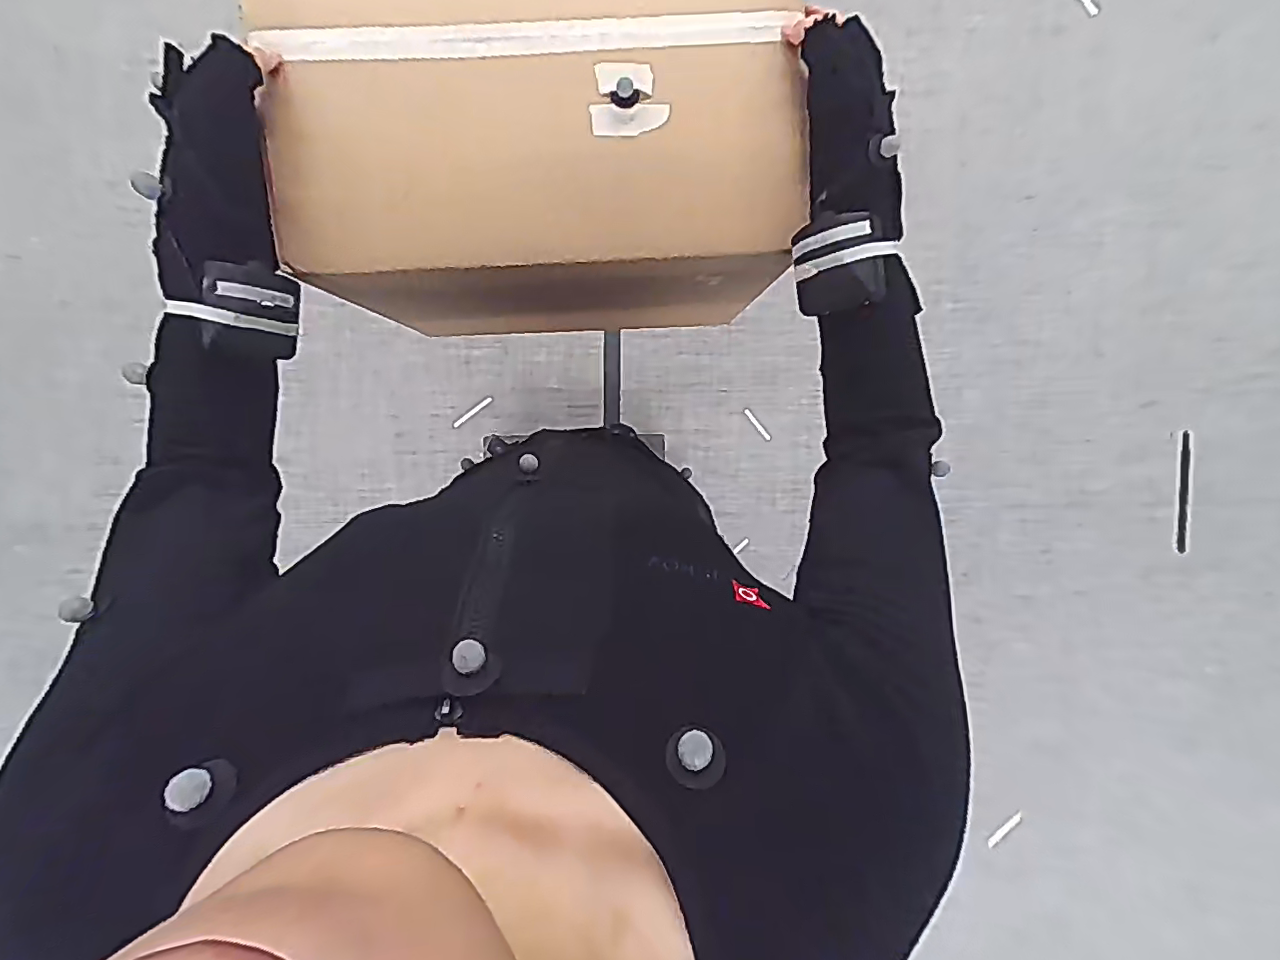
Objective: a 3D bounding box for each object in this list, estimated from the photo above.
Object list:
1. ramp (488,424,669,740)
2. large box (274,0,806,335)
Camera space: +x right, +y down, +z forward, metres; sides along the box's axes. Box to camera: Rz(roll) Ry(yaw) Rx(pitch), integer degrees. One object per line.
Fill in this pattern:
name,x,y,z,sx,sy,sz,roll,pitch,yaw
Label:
ramp,-0.160,0.333,1.592,0.509,0.206,0.991,-3,95,-3
large box,-0.081,-0.343,0.561,0.408,0.320,0.320,-3,97,-2
